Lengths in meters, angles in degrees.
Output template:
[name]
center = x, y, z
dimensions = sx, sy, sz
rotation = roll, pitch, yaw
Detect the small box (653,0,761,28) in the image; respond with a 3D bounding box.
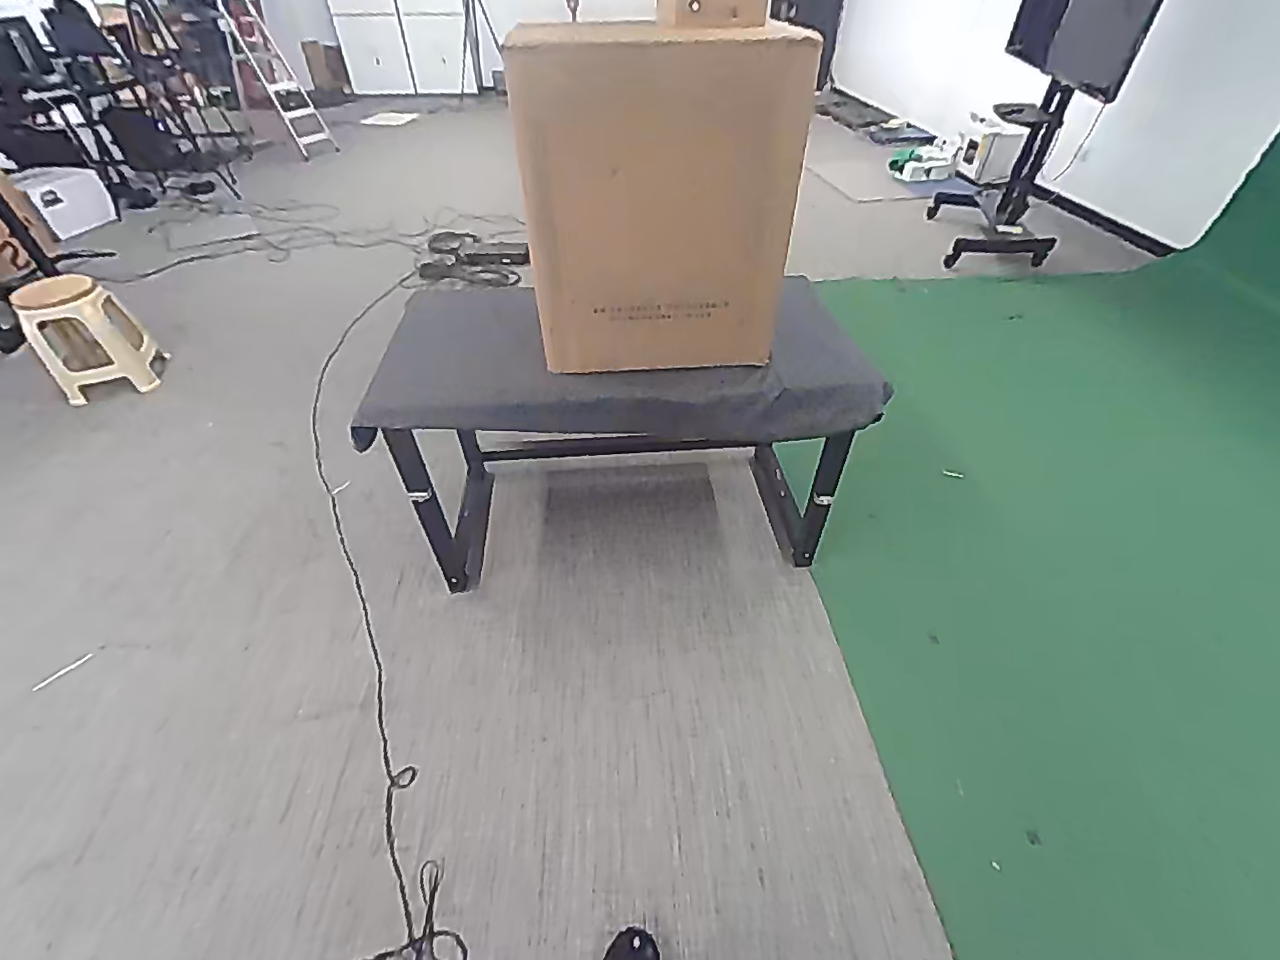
[small box]
center = 0.117, -0.906, 0.945
dimensions = 0.168, 0.176, 0.179
rotation = -8, 45, -6
